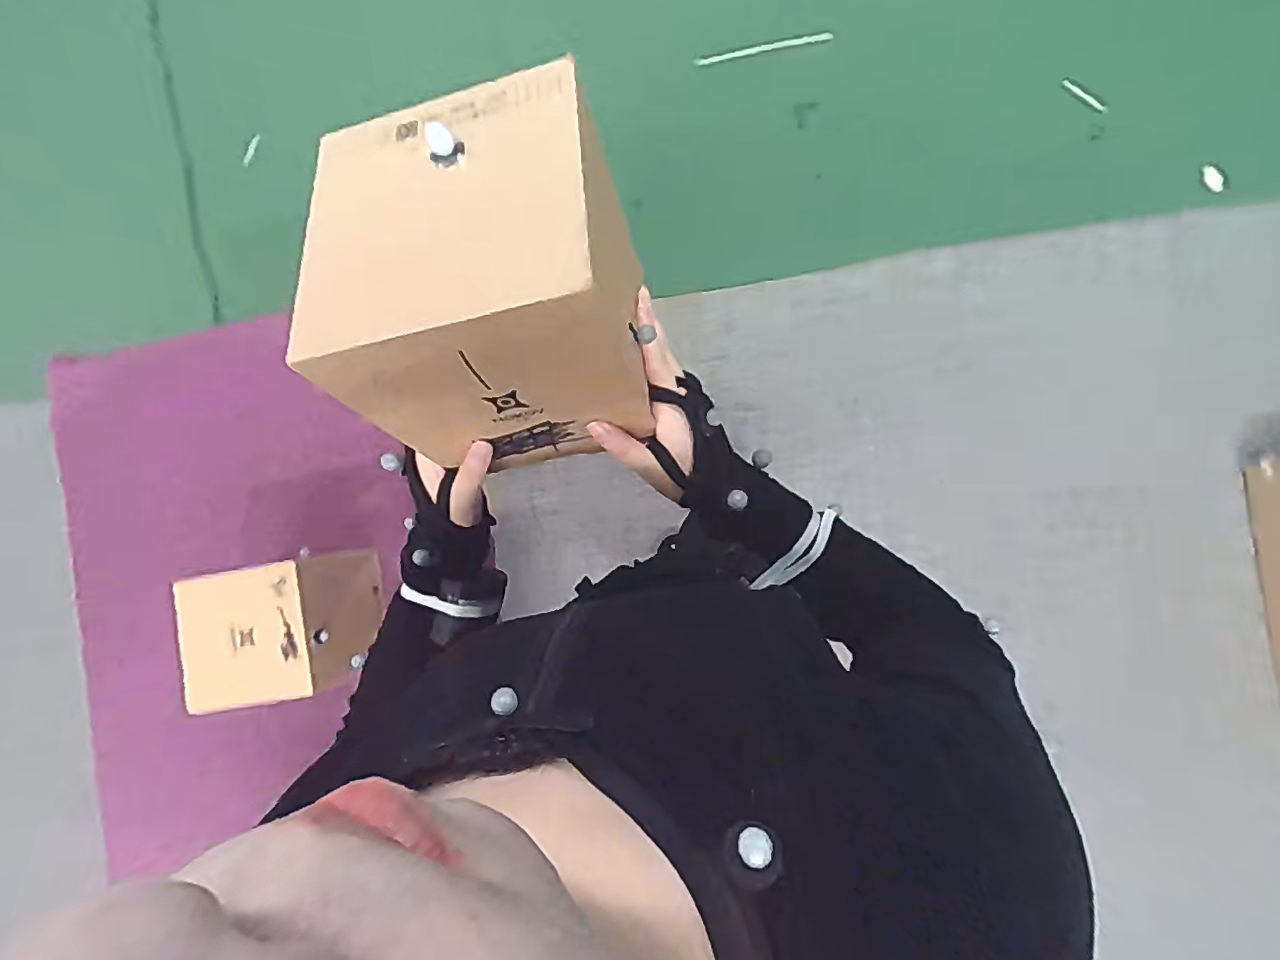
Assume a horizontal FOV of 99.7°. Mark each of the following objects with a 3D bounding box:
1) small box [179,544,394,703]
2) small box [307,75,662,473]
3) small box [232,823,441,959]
[{"bbox_3d":[-0.481,0.189,0.755,0.179,0.176,0.168,-11,89,8],"label":"small box"},{"bbox_3d":[-0.083,-0.122,0.373,0.168,0.179,0.176,-9,68,9],"label":"small box"},{"bbox_3d":[-0.401,0.602,0.737,0.179,0.176,0.168,-9,88,6],"label":"small box"}]
